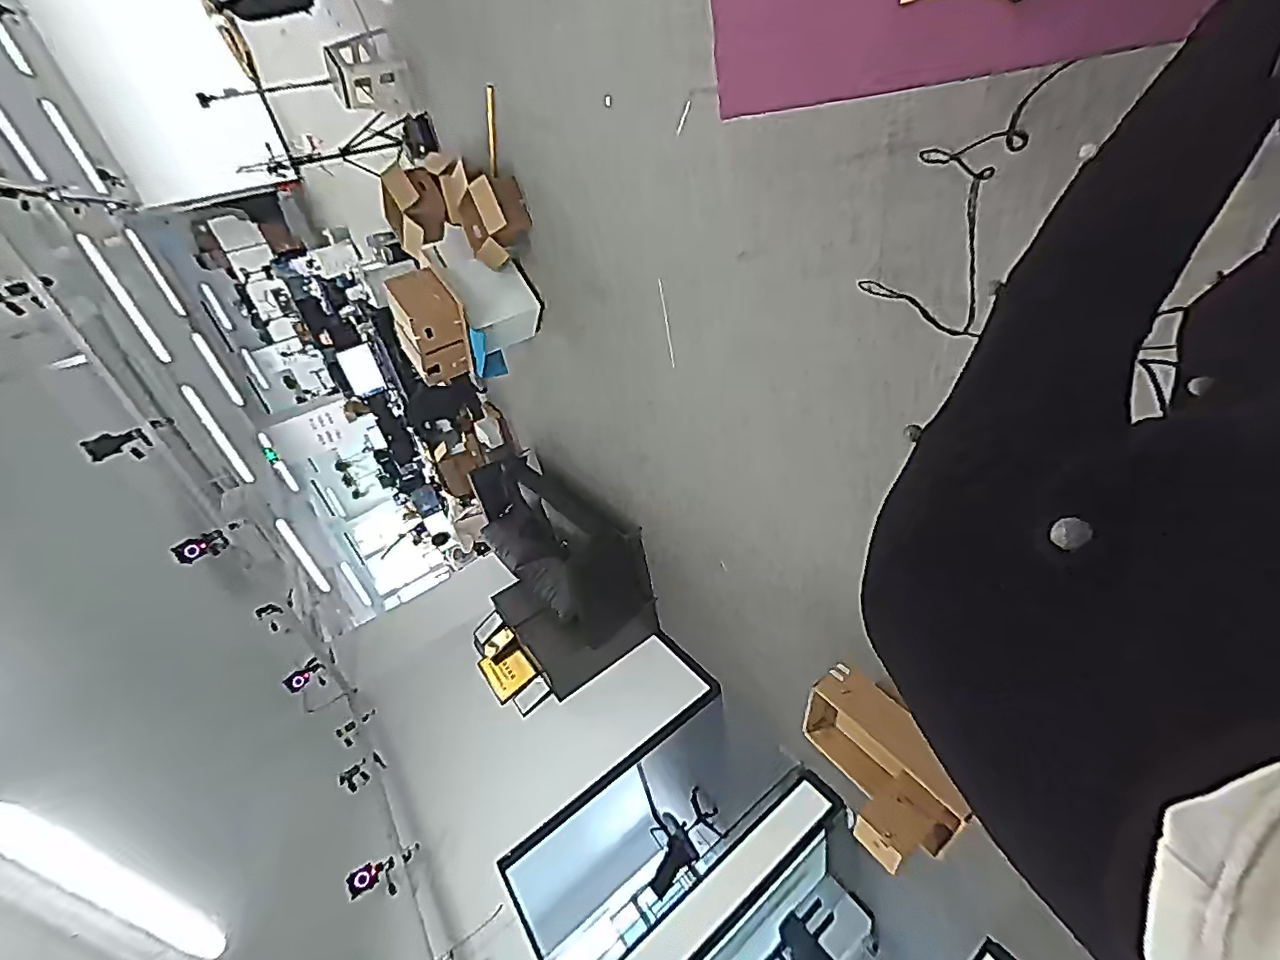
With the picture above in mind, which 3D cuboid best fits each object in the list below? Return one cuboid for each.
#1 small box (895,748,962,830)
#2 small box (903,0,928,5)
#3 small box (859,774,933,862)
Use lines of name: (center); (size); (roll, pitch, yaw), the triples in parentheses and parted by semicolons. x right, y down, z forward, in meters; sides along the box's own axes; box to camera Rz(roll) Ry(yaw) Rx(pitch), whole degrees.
small box: (1.040, 1.122, 1.975); (0.168, 0.176, 0.179); (38, 149, 42)
small box: (0.394, -0.611, 0.538); (0.168, 0.176, 0.179); (34, 144, 49)
small box: (0.905, 1.190, 1.911); (0.168, 0.176, 0.179); (35, 146, 43)
